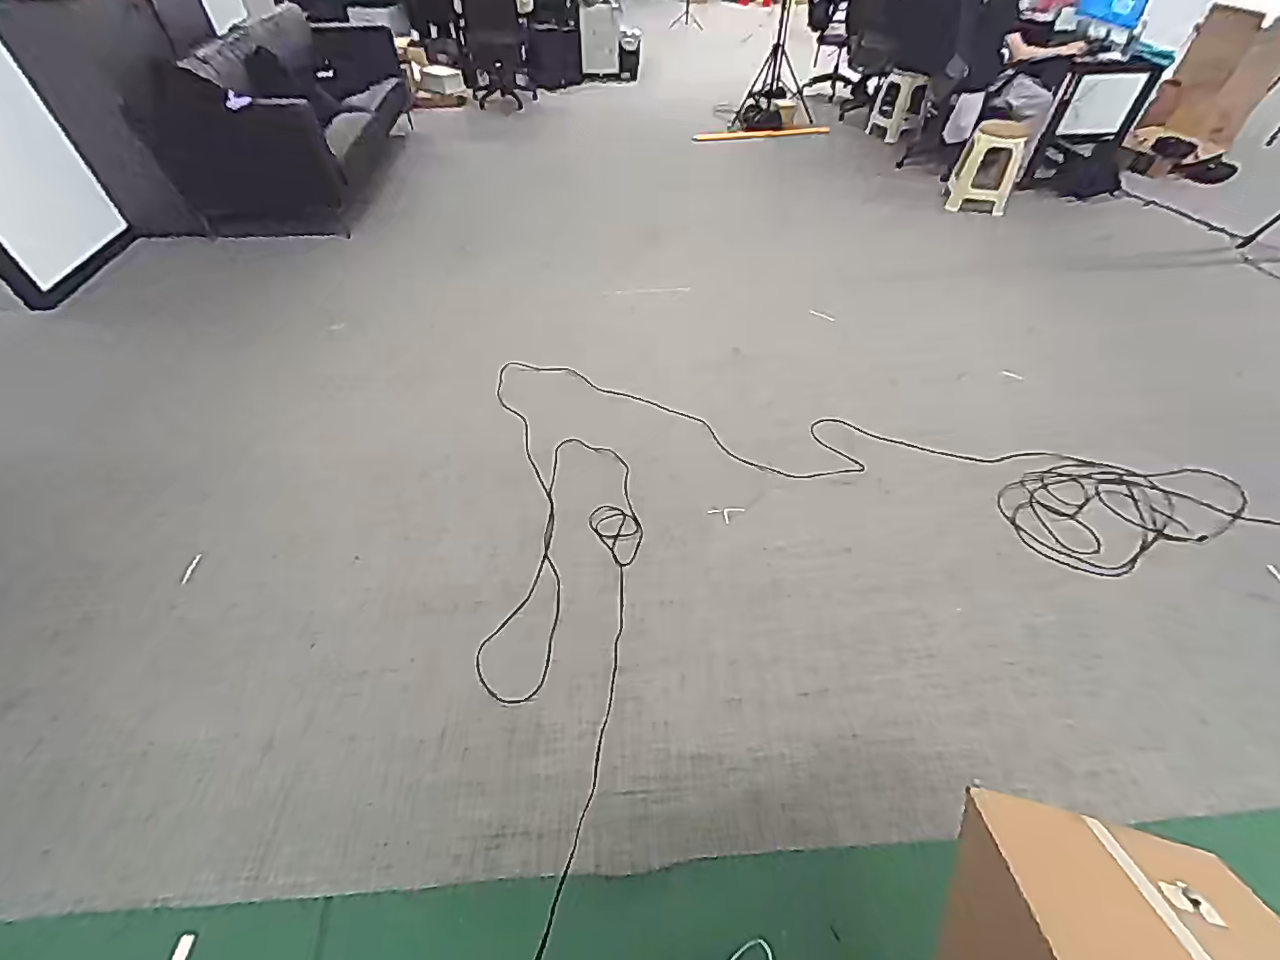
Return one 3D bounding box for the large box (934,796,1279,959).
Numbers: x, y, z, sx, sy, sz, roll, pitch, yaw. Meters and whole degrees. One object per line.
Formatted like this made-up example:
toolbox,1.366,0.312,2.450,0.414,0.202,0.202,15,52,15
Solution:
large box,0.574,0.668,0.617,0.320,0.320,0.408,11,6,15
